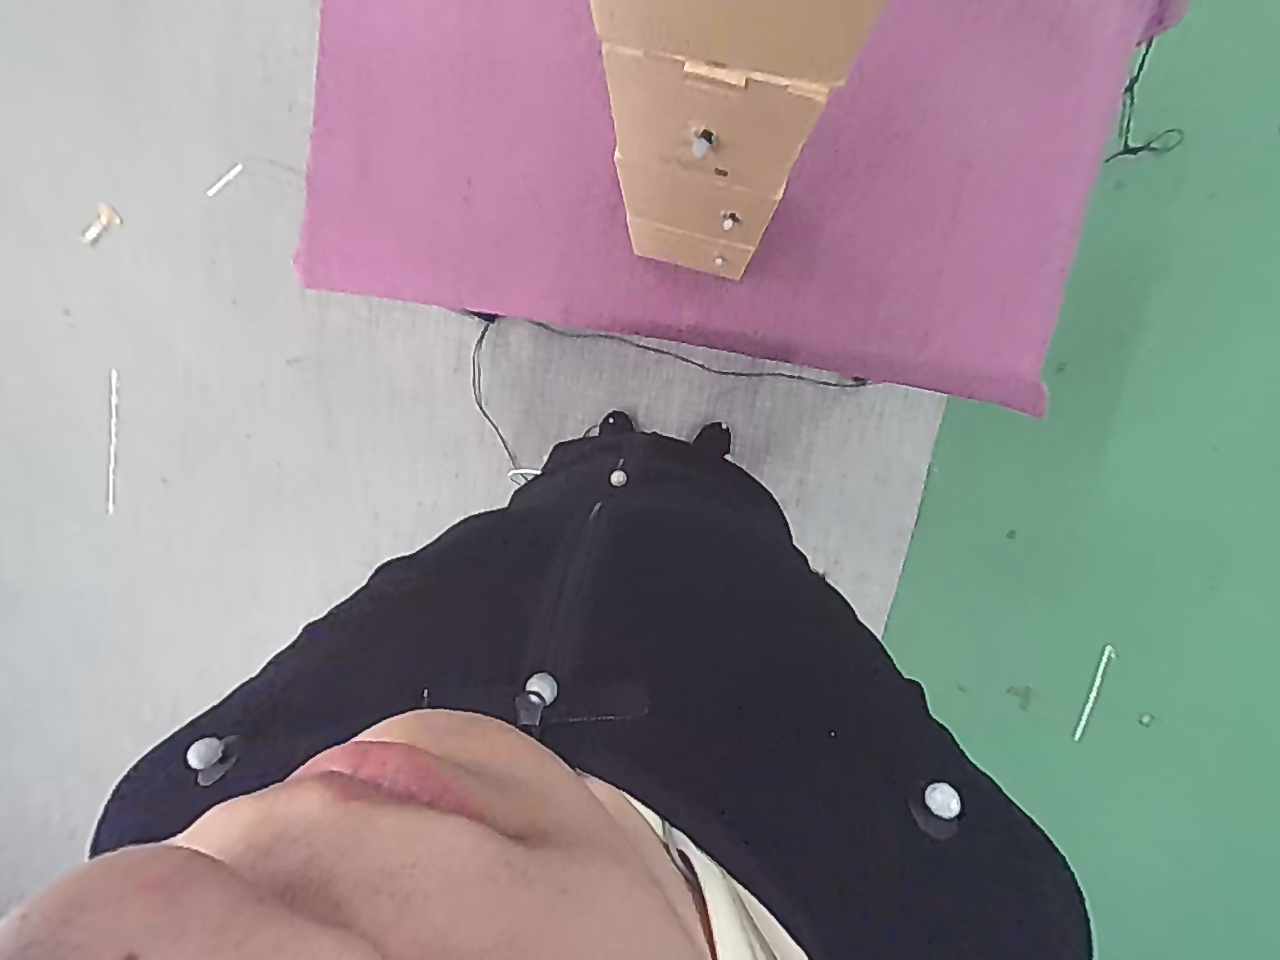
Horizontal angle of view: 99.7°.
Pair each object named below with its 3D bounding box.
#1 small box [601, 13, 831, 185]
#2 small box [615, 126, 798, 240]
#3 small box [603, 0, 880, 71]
[{"bbox_3d":[0.076,-0.377,0.445,0.168,0.176,0.179,15,98,1],"label":"small box"},{"bbox_3d":[0.083,-0.390,0.607,0.179,0.176,0.168,15,97,2],"label":"small box"},{"bbox_3d":[0.069,-0.360,0.282,0.179,0.176,0.168,13,97,1],"label":"small box"}]
